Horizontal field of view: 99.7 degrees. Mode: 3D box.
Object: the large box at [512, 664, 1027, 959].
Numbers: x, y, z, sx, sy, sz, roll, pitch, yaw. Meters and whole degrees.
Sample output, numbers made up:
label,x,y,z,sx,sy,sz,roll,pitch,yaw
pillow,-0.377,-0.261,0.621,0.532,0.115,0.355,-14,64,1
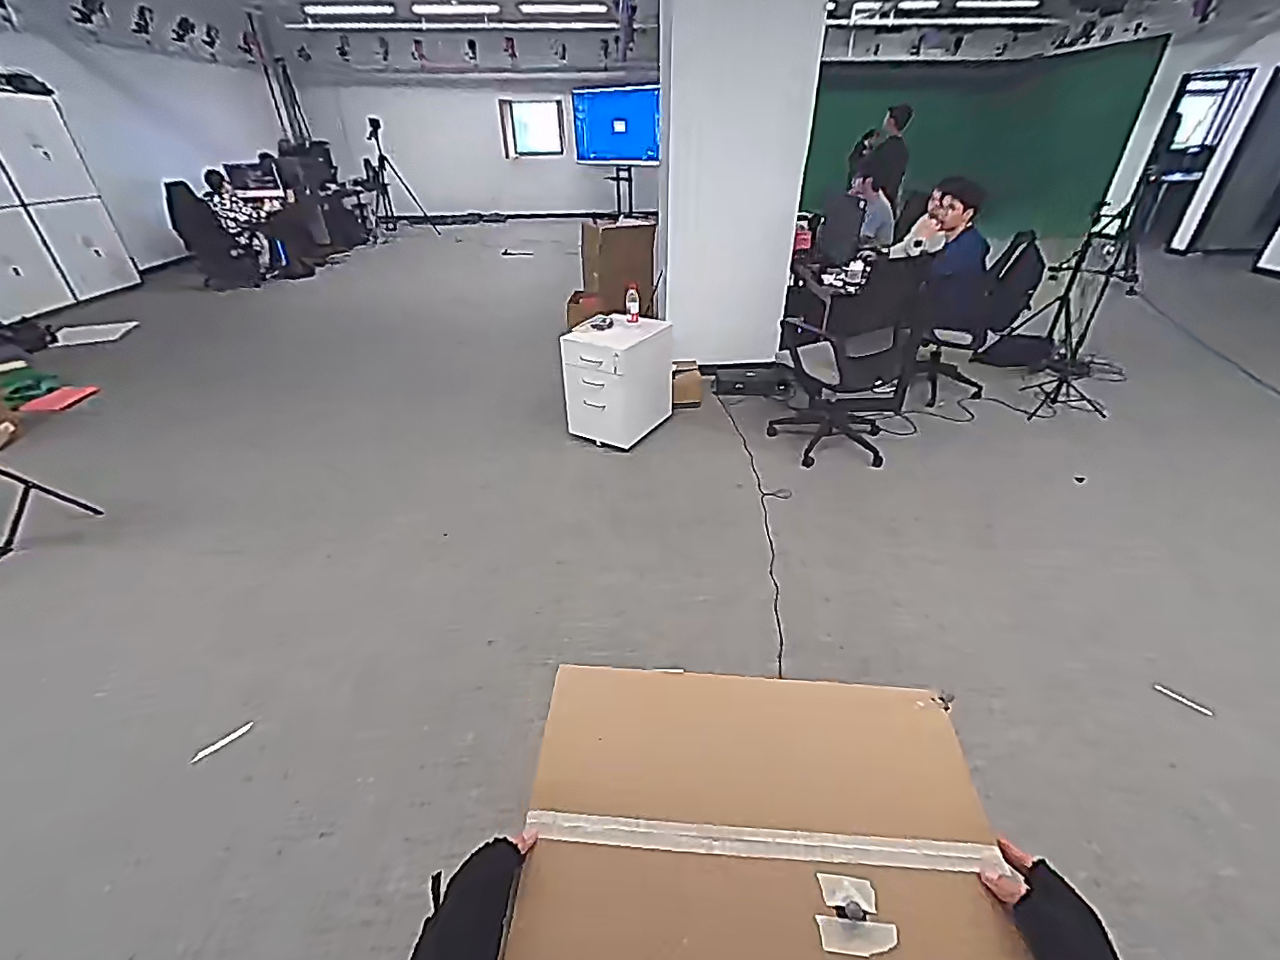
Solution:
label,x,y,z,sx,sy,sz,roll,pitch,yaw
large box,0.104,0.428,0.576,0.408,0.320,0.320,3,40,3
